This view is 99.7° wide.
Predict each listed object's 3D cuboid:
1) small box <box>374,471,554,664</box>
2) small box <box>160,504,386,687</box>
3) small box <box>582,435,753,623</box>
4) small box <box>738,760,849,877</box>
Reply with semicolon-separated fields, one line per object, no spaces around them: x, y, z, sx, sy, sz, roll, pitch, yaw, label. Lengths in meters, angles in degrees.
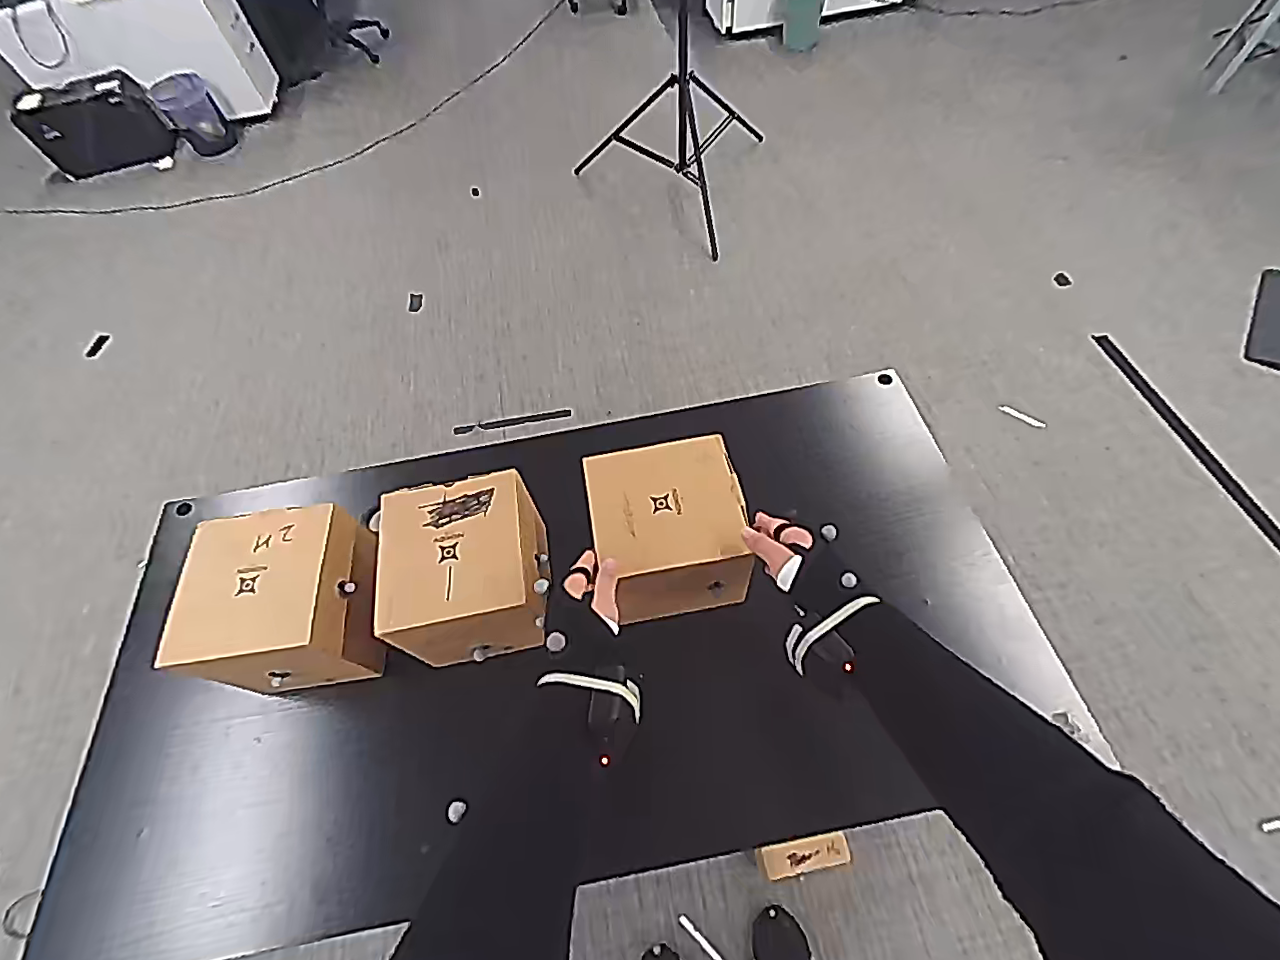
-0.212;0.116;0.686;0.168;0.176;0.179;-11;60;-2;small box
-0.433;0.154;0.682;0.168;0.176;0.179;-8;59;-1;small box
0.032;0.069;0.695;0.179;0.176;0.168;-12;58;-1;small box
0.310;0.708;1.137;0.168;0.176;0.179;-12;59;-1;small box
